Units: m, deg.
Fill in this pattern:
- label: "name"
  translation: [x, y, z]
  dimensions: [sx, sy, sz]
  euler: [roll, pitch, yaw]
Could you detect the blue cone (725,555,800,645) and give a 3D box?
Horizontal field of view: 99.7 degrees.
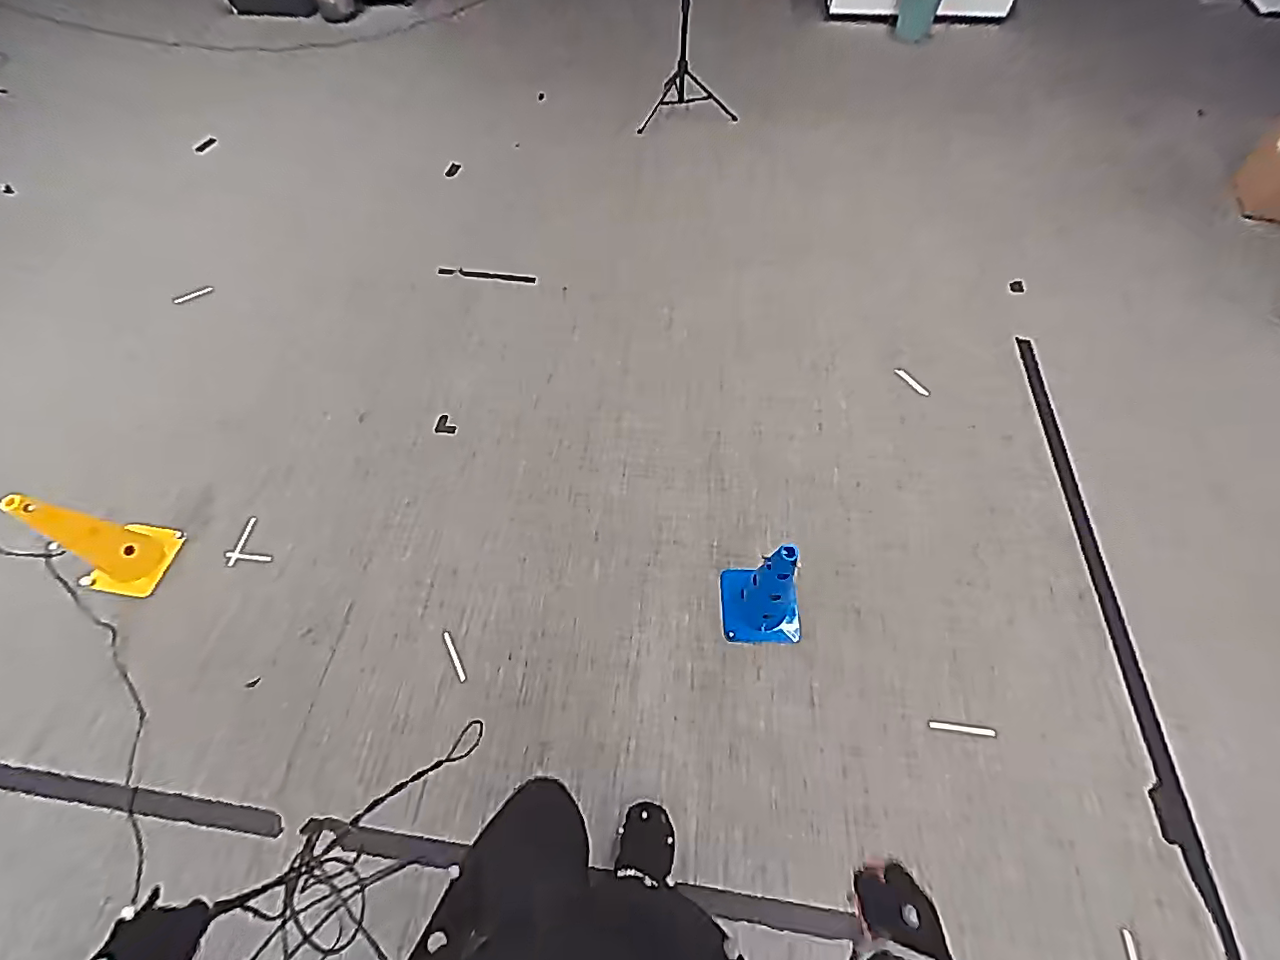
- label: "blue cone"
  translation: [0.321, 0.258, 1.298]
  dimensions: [0.193, 0.380, 0.192]
  euler: [2, 60, 2]
